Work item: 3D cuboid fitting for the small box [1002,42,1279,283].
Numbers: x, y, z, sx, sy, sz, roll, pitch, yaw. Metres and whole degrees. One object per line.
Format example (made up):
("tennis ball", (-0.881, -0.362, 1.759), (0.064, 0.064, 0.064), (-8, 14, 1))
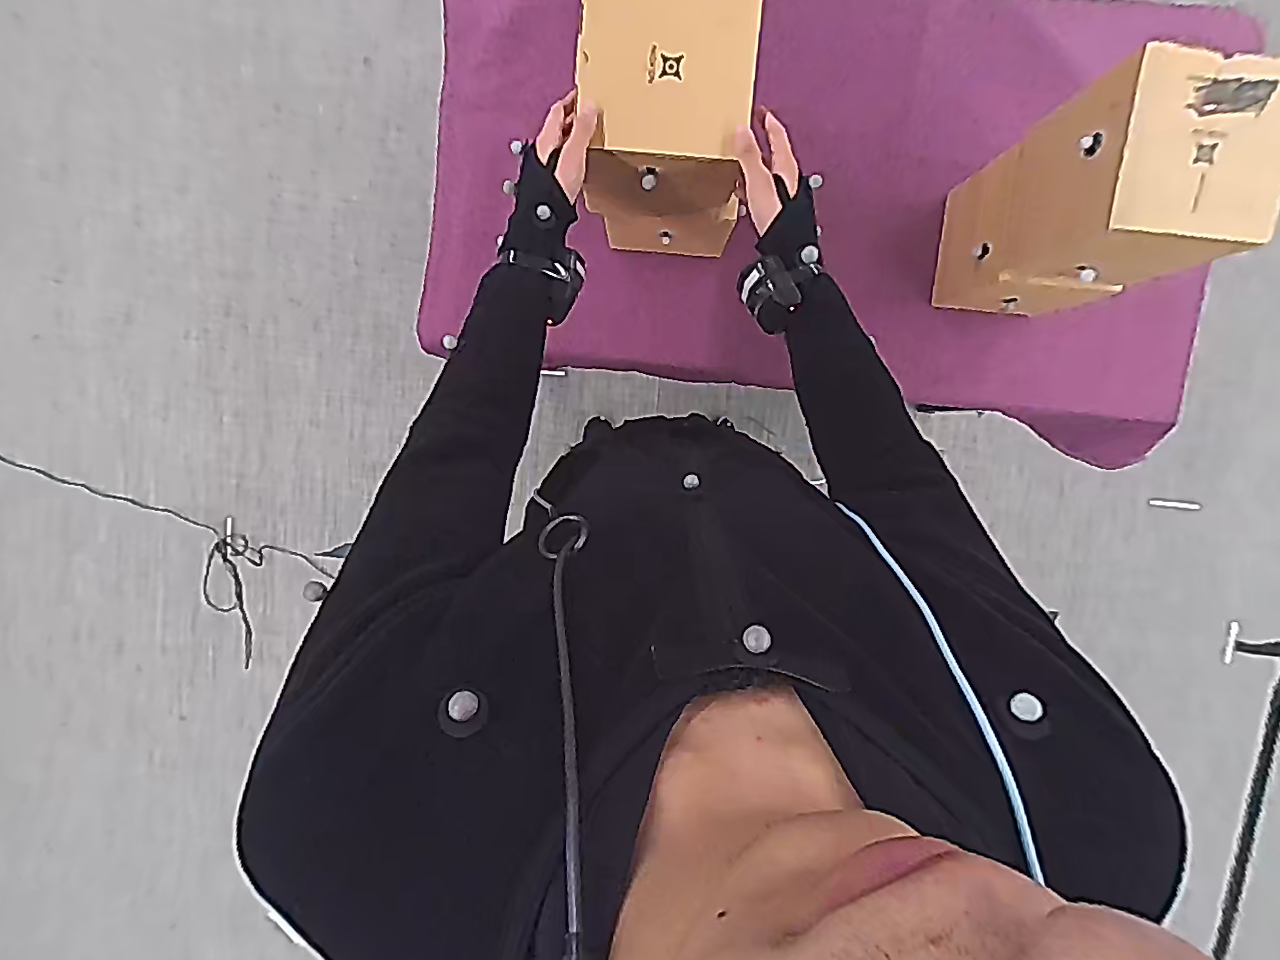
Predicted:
("small box", (0.554, -0.342, 0.616), (0.168, 0.176, 0.179), (6, 97, -1))

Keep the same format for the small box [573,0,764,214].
("small box", (0.028, -0.415, 0.605), (0.179, 0.176, 0.168), (5, 97, 1))

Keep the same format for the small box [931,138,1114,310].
("small box", (0.551, -0.353, 0.780), (0.168, 0.176, 0.179), (6, 97, -1))
